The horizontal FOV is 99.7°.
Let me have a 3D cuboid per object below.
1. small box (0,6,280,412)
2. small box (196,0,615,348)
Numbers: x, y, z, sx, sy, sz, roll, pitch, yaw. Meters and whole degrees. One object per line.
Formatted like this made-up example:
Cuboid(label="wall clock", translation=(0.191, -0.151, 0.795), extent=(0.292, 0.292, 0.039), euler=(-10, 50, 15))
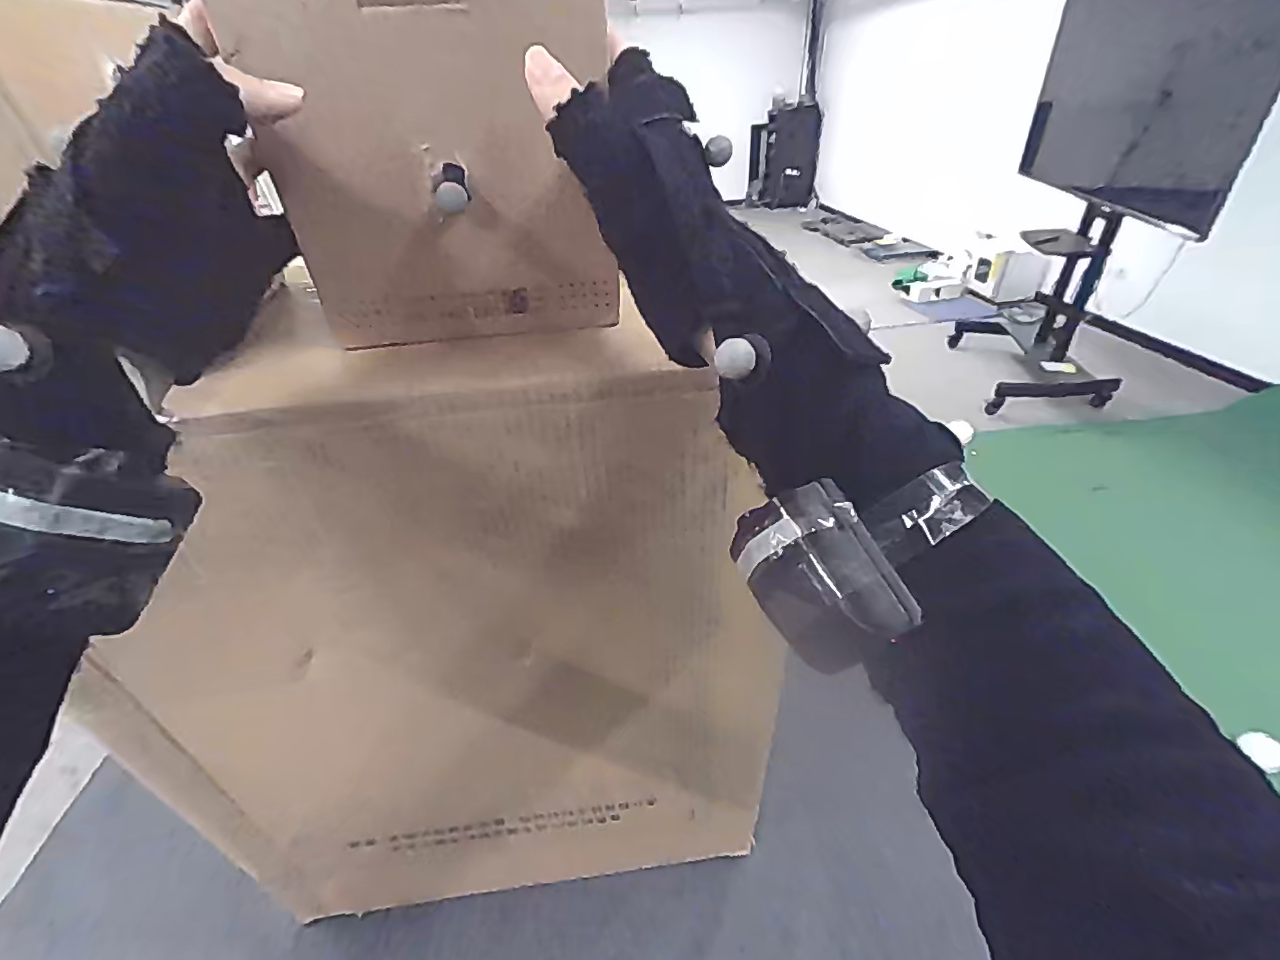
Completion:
Cuboid(label="small box", translation=(-0.344, -0.146, 0.305), extent=(0.168, 0.176, 0.179), euler=(-8, 36, -8))
Cuboid(label="small box", translation=(-0.108, -0.191, 0.337), extent=(0.168, 0.176, 0.179), euler=(-6, 39, -6))
